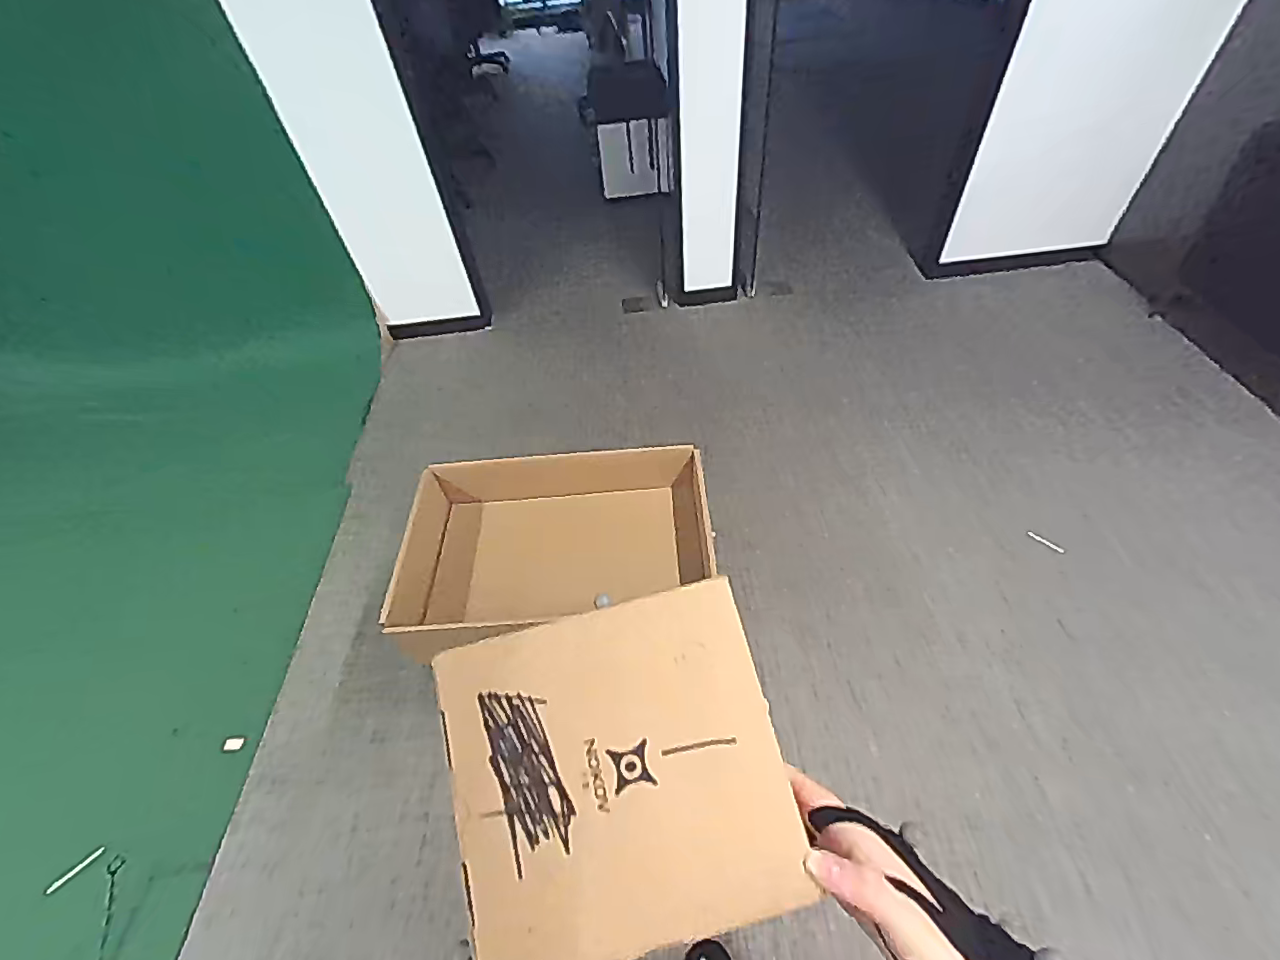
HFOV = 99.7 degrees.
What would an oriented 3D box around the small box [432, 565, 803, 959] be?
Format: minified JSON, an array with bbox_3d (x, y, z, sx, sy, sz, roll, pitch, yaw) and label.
[{"bbox_3d":[-0.015,0.169,0.369,0.179,0.176,0.168,-15,73,-2],"label":"small box"}]
